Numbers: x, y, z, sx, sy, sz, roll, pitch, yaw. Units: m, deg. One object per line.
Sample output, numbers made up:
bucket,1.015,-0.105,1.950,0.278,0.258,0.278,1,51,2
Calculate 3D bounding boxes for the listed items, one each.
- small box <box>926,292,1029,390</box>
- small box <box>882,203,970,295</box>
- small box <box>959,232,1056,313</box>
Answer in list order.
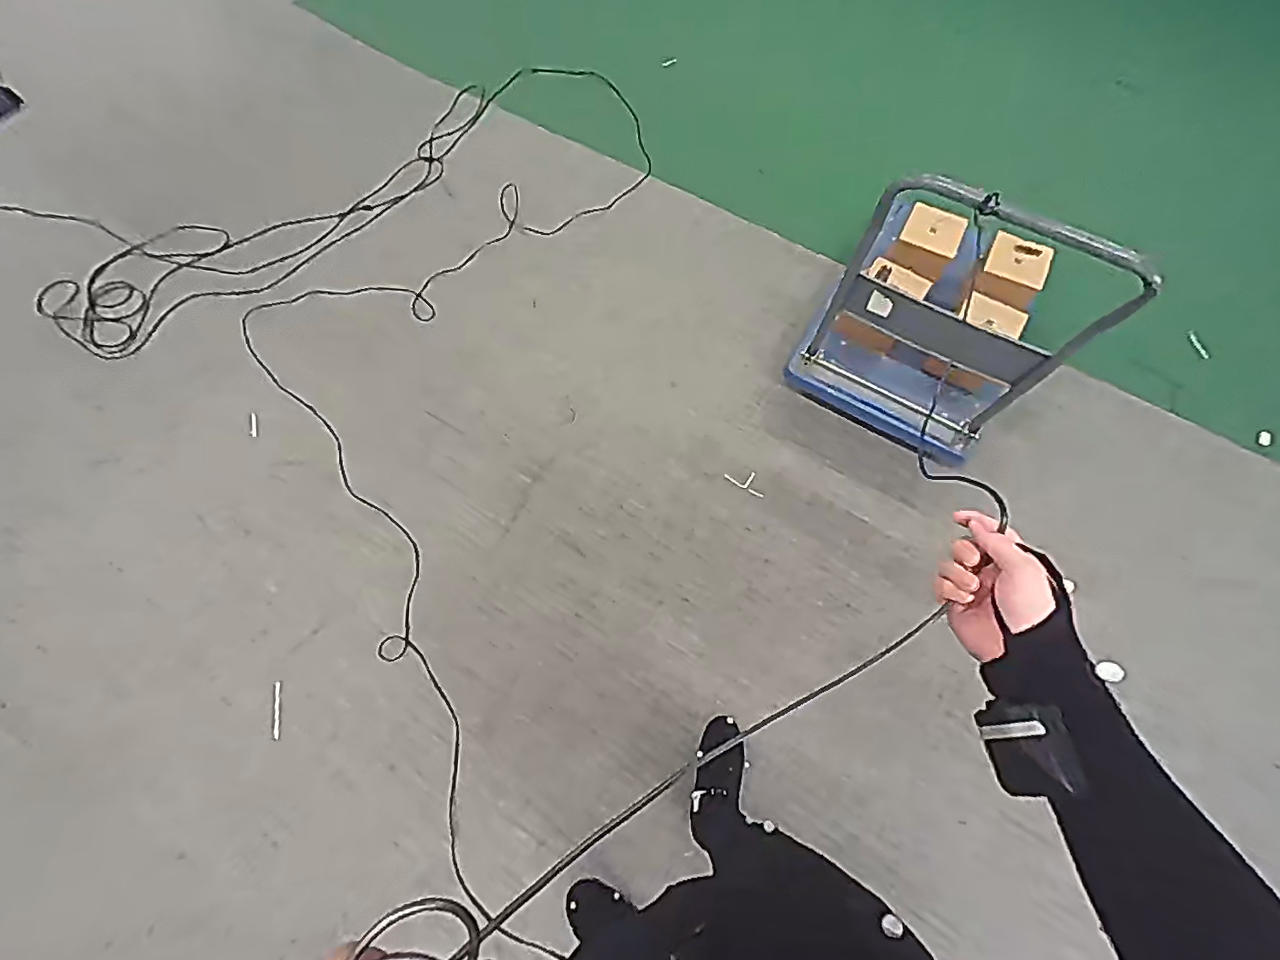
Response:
small box,0.961,-0.394,1.554,0.168,0.176,0.179,31,71,12
small box,0.885,-0.715,1.689,0.168,0.176,0.179,27,70,10
small box,1.106,-0.604,1.642,0.168,0.176,0.179,27,71,11
